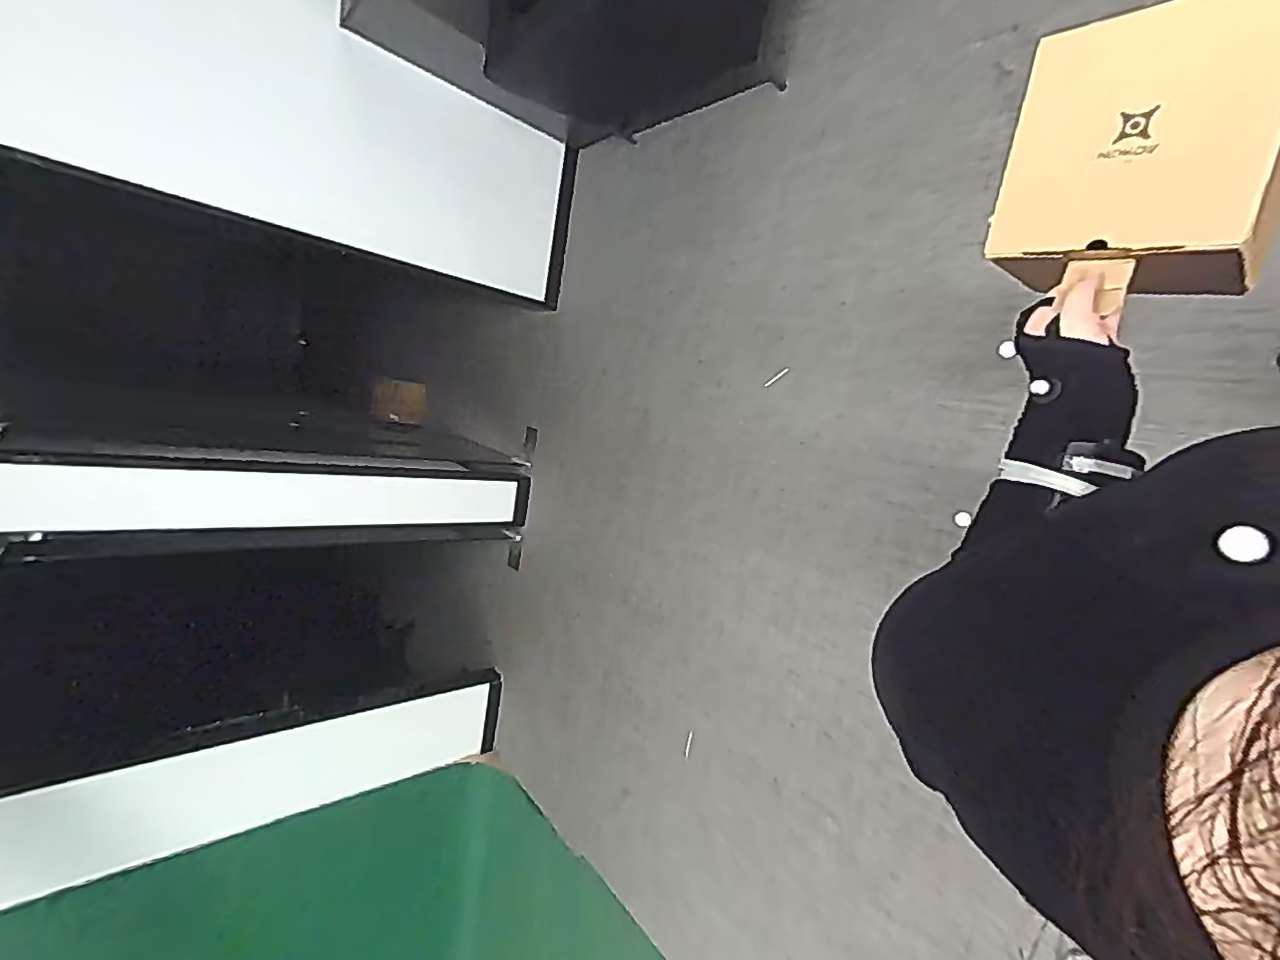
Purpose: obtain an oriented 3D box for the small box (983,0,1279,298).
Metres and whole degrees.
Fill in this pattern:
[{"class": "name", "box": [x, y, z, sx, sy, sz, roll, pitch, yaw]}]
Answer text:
[{"class": "small box", "box": [0.436, -0.266, 0.470, 0.168, 0.176, 0.179, 22, 109, 46]}]
